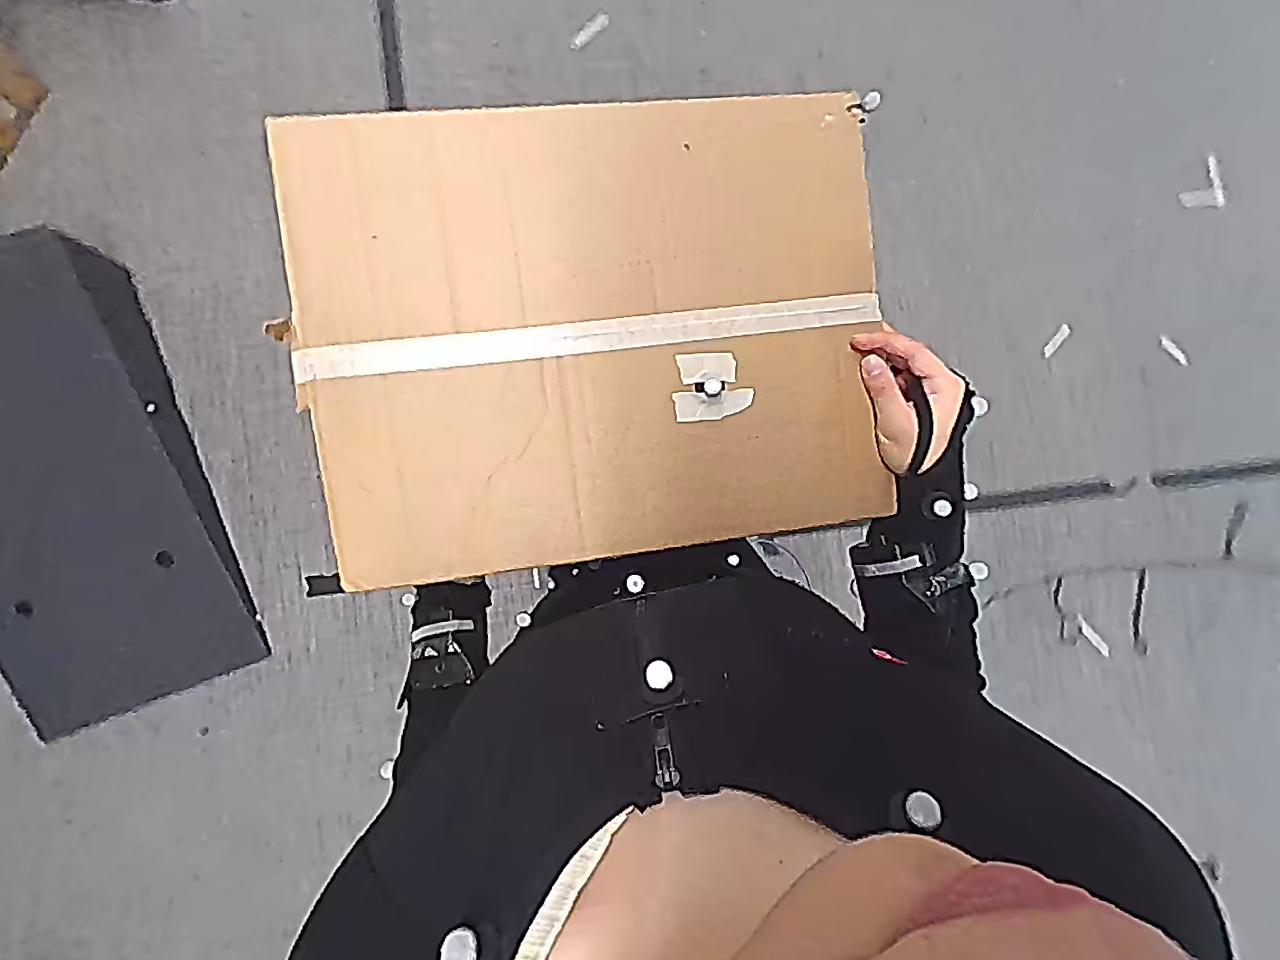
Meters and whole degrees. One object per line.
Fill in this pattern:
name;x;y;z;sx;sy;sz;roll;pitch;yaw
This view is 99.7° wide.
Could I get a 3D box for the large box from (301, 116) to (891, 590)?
large box;-0.035;-0.105;0.538;0.408;0.320;0.320;-7;94;-8
